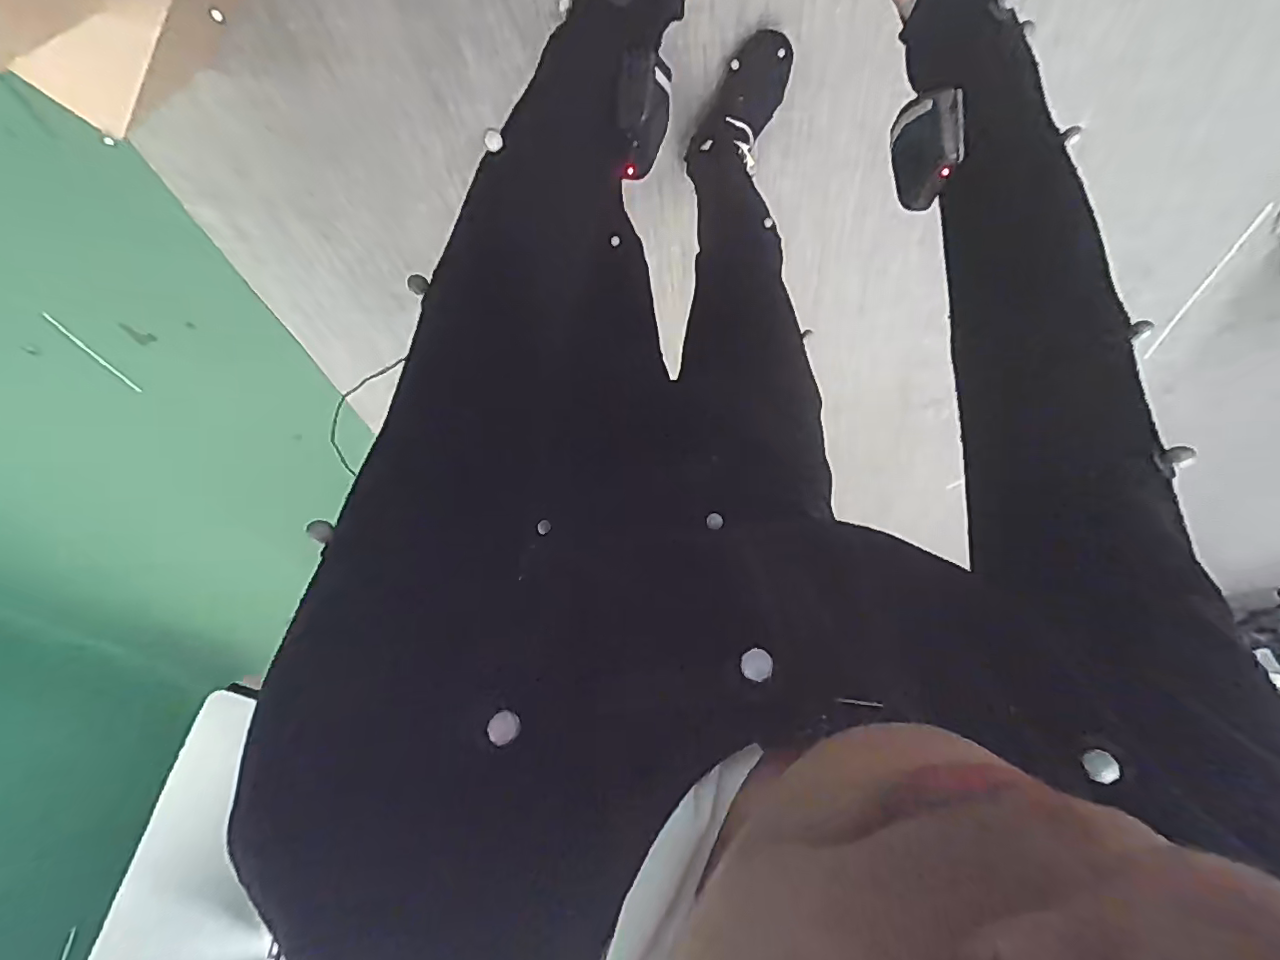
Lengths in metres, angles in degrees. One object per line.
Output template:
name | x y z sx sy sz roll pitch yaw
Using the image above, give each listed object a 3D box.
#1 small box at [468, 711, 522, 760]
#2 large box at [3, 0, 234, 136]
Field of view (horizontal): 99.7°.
small box | -0.593 1.057 2.232 0.168 0.176 0.179 -4 144 4
large box | -0.785 -0.819 0.761 0.408 0.320 0.320 -25 137 33
